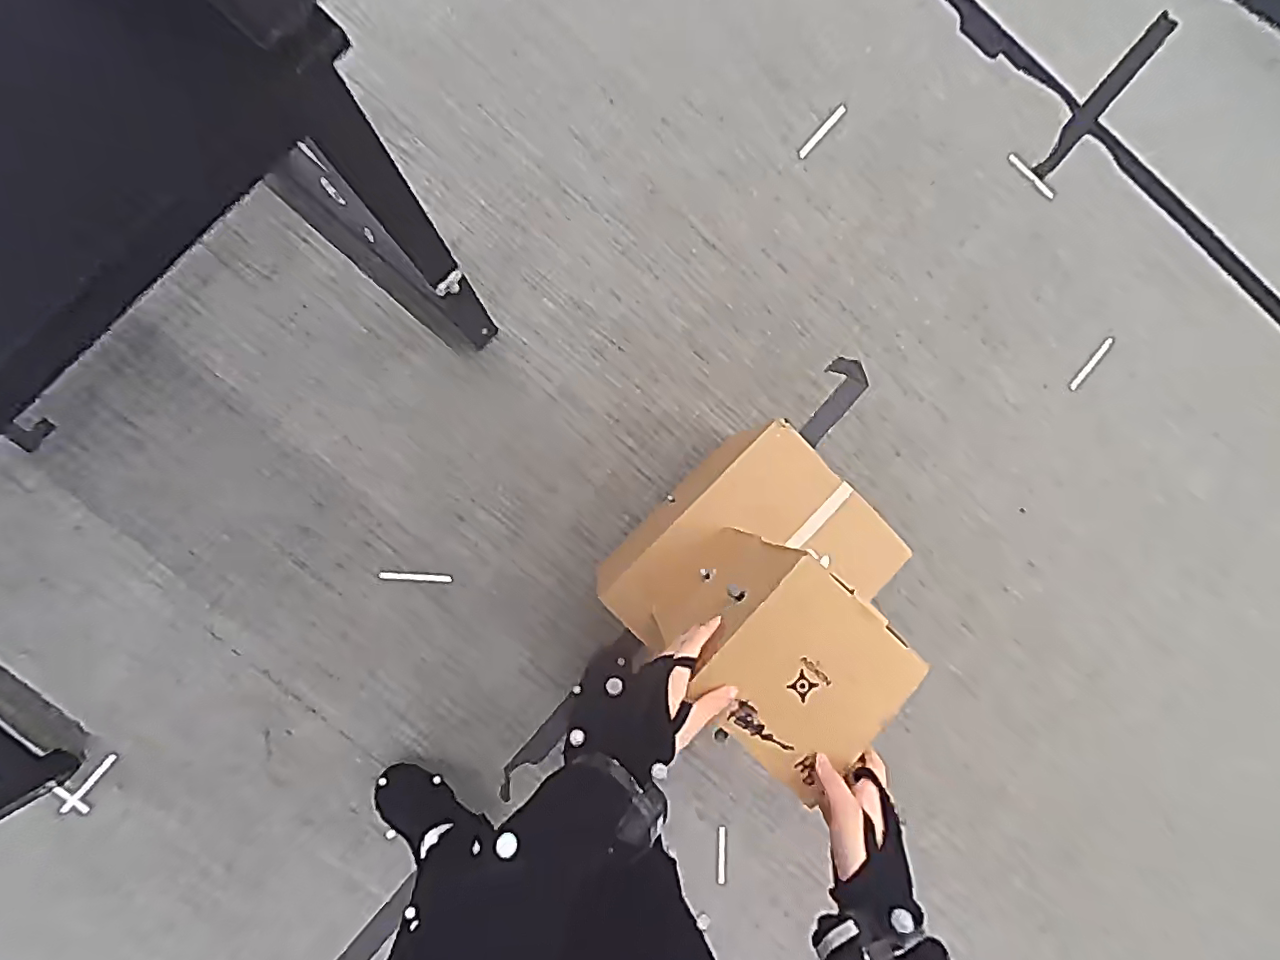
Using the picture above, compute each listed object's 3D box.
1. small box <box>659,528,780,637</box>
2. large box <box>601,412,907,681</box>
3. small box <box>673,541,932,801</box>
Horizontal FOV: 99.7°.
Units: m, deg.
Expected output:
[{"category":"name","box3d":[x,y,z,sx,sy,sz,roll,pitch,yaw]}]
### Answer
[{"category":"small box","box3d":[0.143,0.180,0.741,0.168,0.176,0.179,45,86,-1]},{"category":"large box","box3d":[0.173,0.143,0.990,0.320,0.320,0.408,45,85,-4]},{"category":"small box","box3d":[0.153,0.180,0.577,0.168,0.176,0.179,43,85,-1]}]
